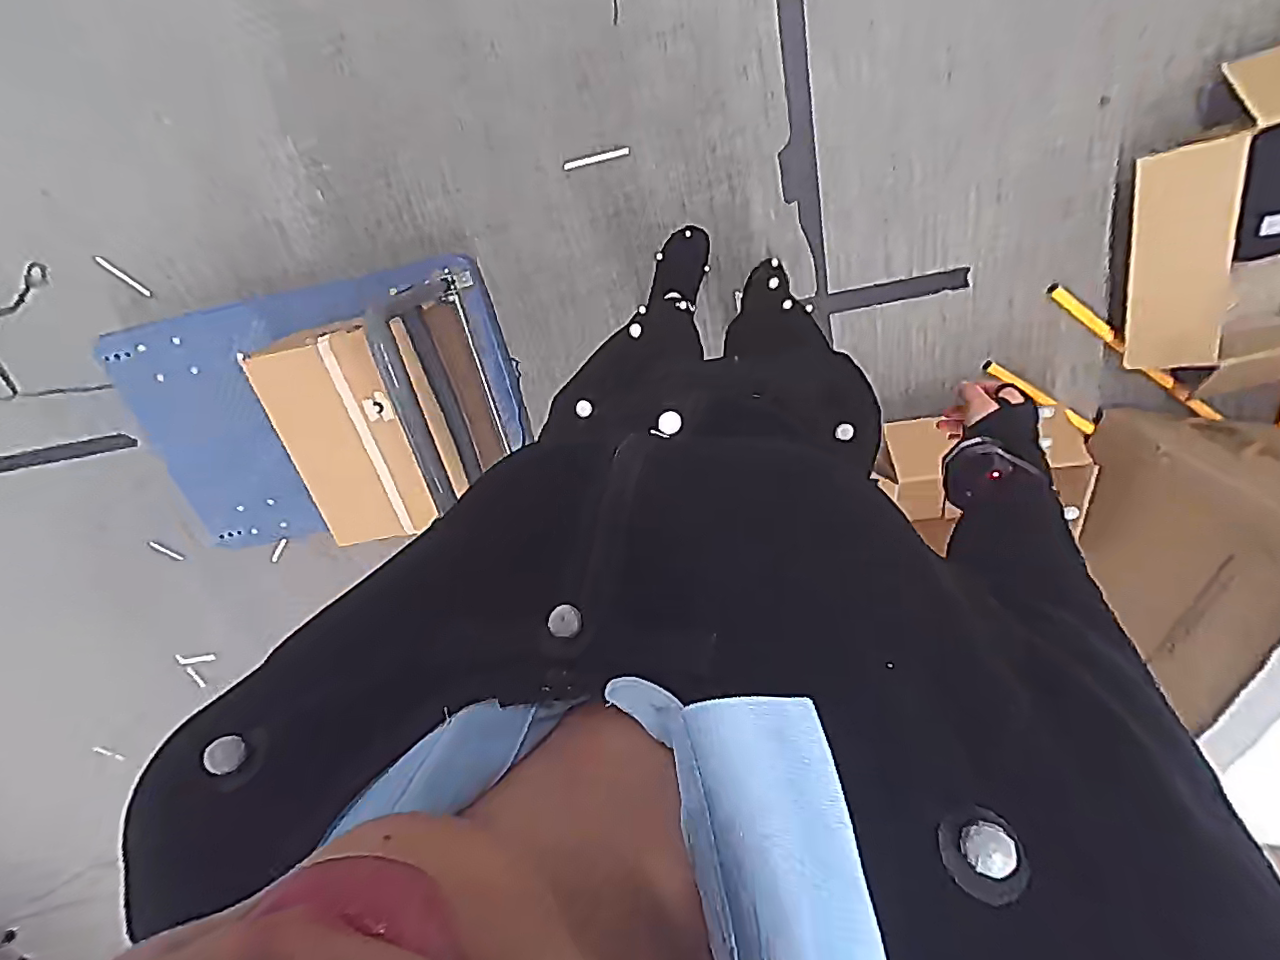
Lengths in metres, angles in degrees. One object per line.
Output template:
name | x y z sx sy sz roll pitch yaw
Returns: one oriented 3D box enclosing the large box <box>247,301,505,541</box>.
large box | -0.521 -0.139 1.177 0.320 0.320 0.408 -13 115 0
